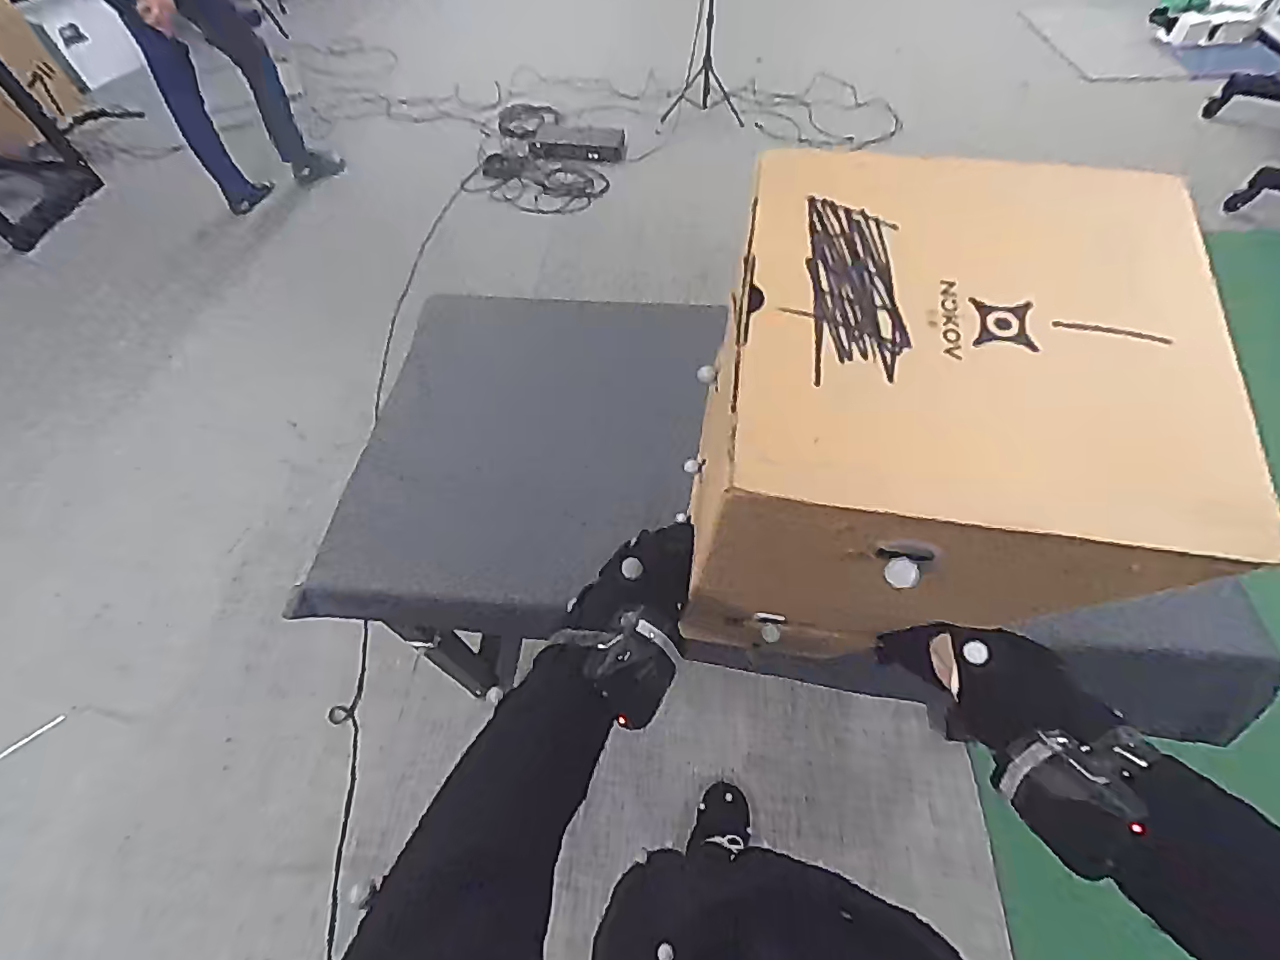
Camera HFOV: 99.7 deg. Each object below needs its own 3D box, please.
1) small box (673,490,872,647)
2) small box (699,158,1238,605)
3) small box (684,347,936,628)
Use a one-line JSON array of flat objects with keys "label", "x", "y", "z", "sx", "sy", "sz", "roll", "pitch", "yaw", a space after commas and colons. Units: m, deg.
[{"label": "small box", "x": 0.135, "y": 0.085, "z": 0.594, "sx": 0.179, "sy": 0.176, "sz": 0.168, "roll": 7, "pitch": 68, "yaw": 4}, {"label": "small box", "x": 0.128, "y": -0.035, "z": 0.289, "sx": 0.179, "sy": 0.176, "sz": 0.168, "roll": 7, "pitch": 69, "yaw": 5}, {"label": "small box", "x": 0.128, "y": 0.015, "z": 0.446, "sx": 0.168, "sy": 0.176, "sz": 0.179, "roll": 7, "pitch": 69, "yaw": 5}]
